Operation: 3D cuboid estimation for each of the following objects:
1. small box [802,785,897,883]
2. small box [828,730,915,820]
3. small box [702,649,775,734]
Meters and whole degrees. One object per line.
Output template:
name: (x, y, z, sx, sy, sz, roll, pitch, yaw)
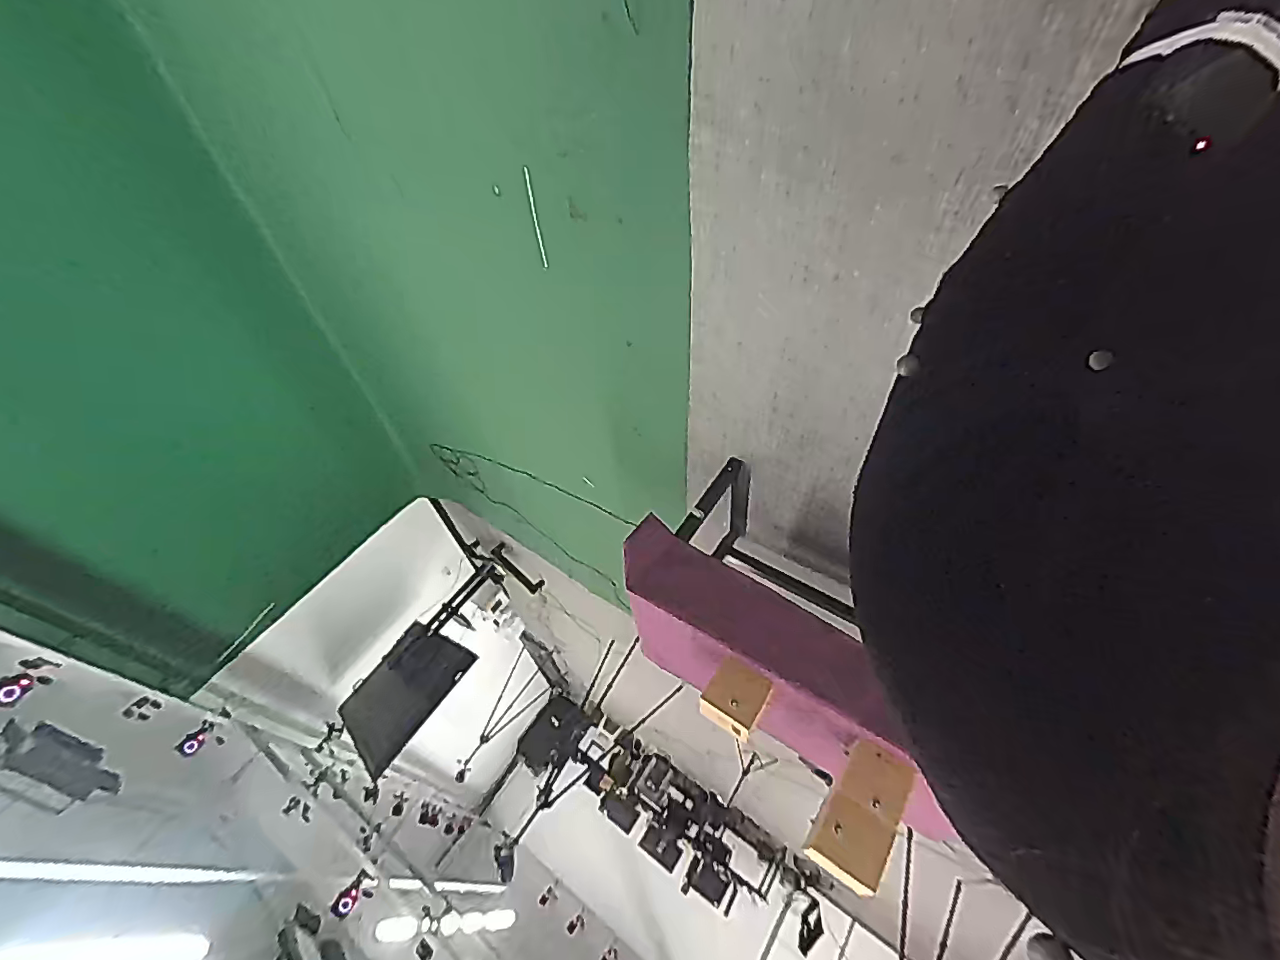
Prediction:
small box: (0.580, 0.976, 1.504, 0.179, 0.176, 0.168, 28, 150, 22)
small box: (0.675, 0.865, 1.579, 0.168, 0.176, 0.179, 27, 150, 23)
small box: (0.319, 0.683, 1.755, 0.179, 0.176, 0.168, 27, 150, 24)
